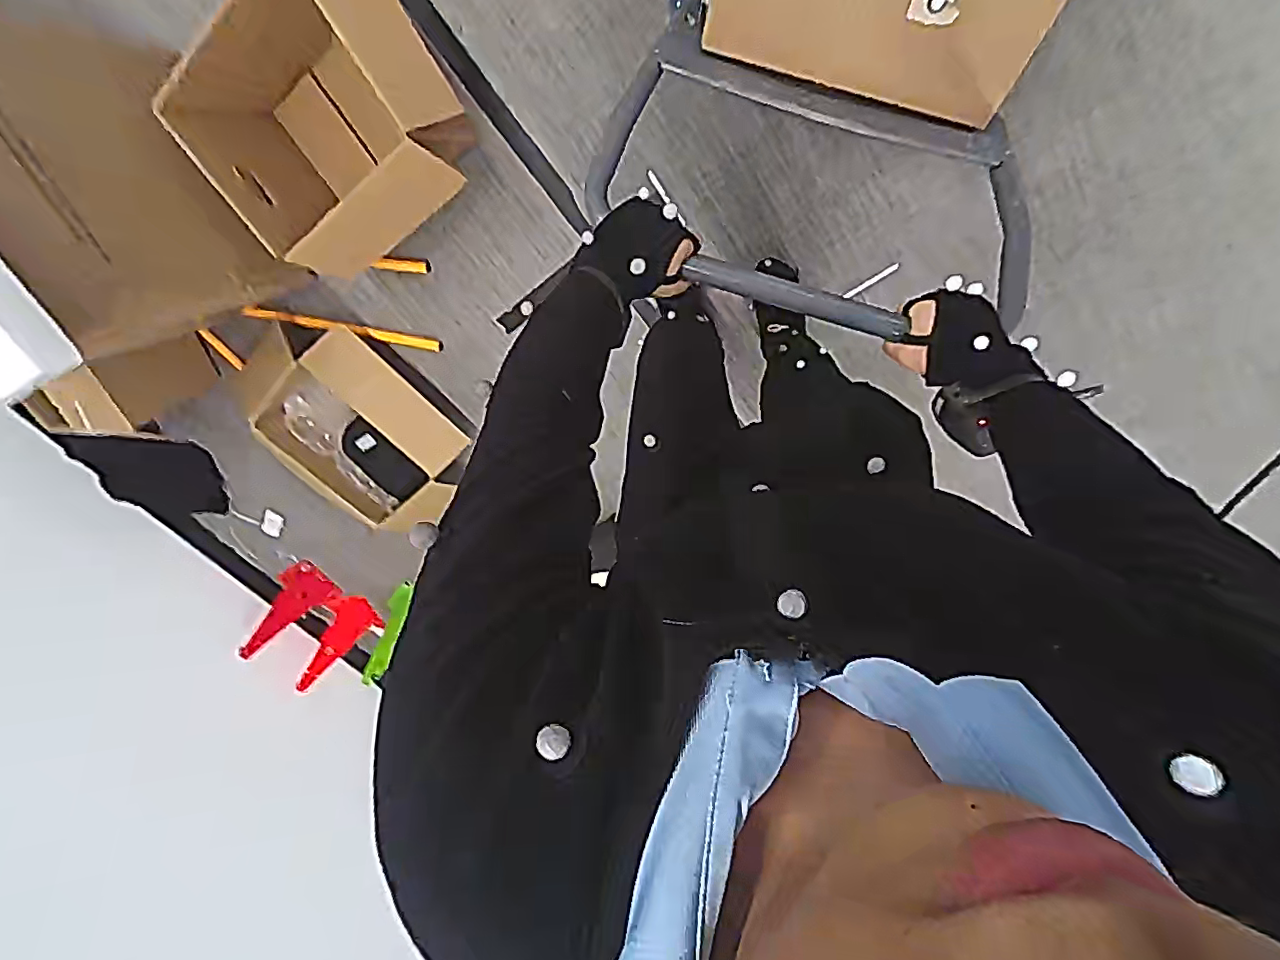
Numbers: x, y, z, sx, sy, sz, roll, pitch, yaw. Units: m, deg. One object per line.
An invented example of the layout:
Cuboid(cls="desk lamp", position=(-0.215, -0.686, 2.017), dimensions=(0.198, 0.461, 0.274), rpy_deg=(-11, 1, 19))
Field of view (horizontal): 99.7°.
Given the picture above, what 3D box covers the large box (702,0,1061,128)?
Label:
Cuboid(cls="large box", position=(0.326, -0.726, 0.697), dimensions=(0.408, 0.320, 0.320), rpy_deg=(16, 144, 0))
